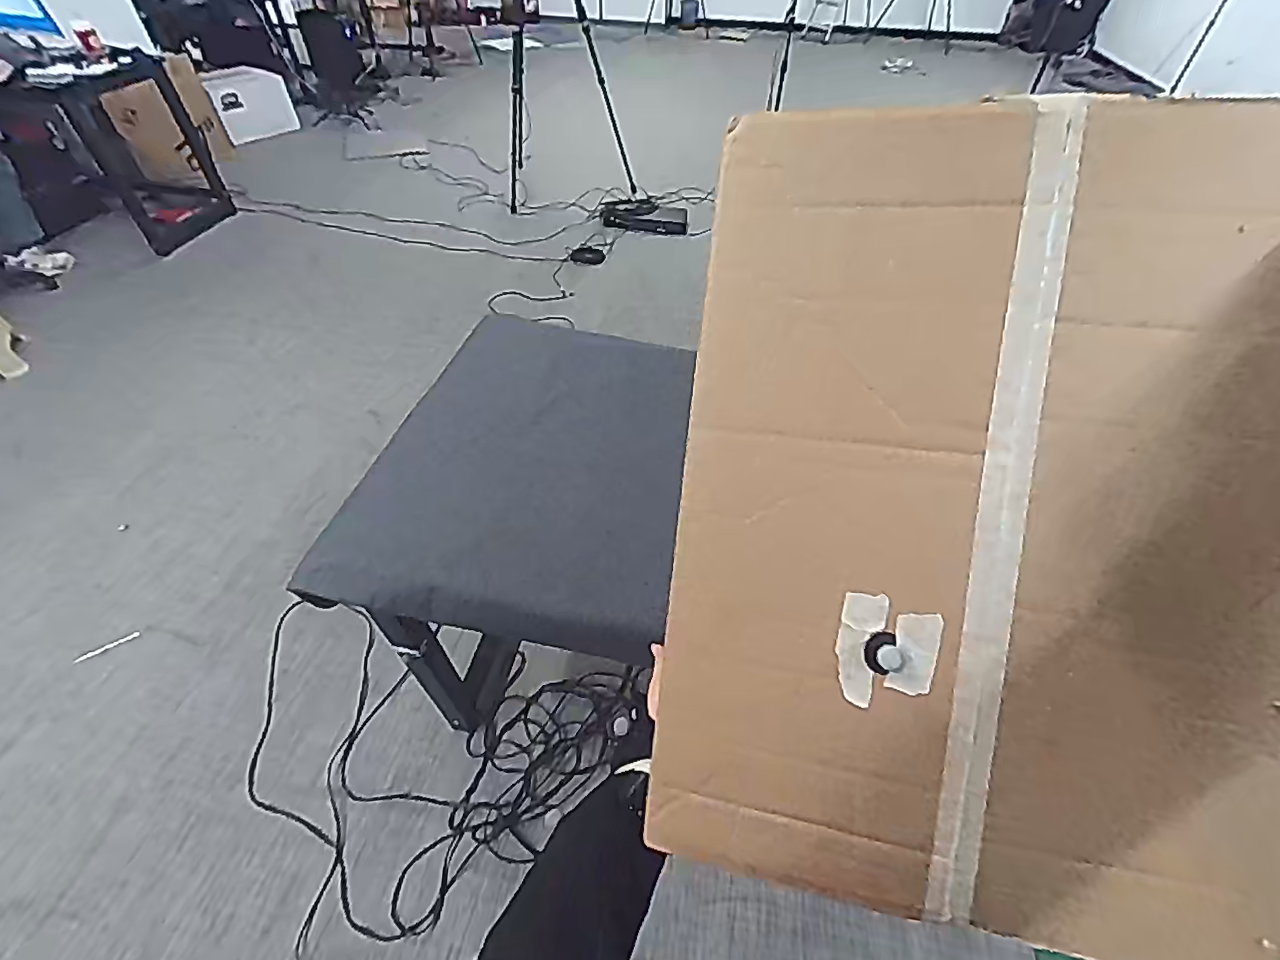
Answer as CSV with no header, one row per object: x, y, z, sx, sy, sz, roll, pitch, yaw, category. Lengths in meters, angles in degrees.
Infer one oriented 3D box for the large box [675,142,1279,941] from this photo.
0.210,0.017,0.432,0.320,0.408,0.320,6,5,11,large box
